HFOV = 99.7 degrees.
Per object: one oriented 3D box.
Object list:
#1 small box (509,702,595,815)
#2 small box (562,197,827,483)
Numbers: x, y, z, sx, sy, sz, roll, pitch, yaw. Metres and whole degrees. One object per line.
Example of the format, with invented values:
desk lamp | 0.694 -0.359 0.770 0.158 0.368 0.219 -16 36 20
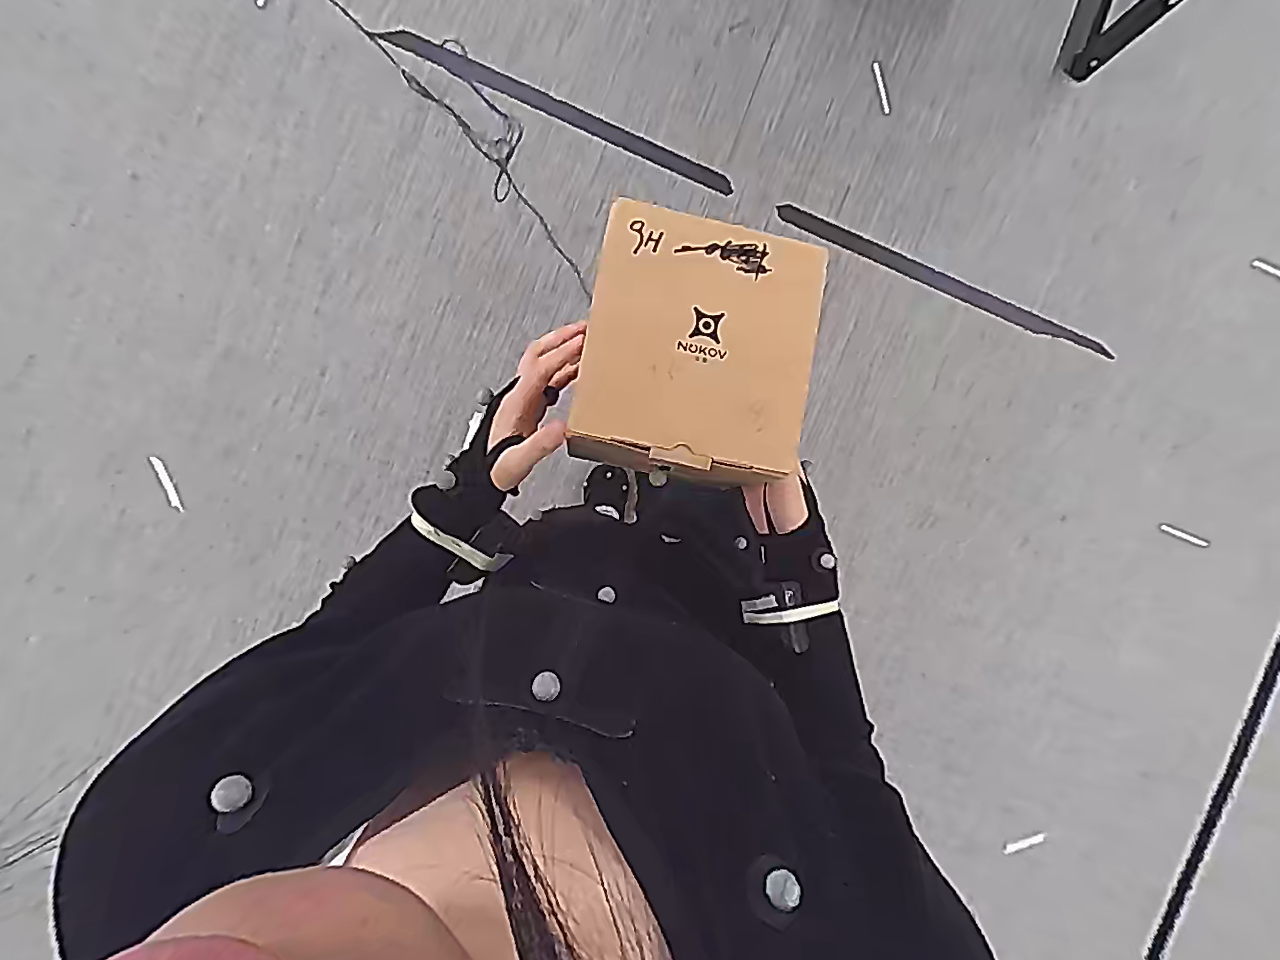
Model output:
small box | -0.223 0.724 1.423 0.168 0.176 0.179 24 90 -5
small box | 0.034 -0.097 0.464 0.168 0.176 0.179 11 86 -6
